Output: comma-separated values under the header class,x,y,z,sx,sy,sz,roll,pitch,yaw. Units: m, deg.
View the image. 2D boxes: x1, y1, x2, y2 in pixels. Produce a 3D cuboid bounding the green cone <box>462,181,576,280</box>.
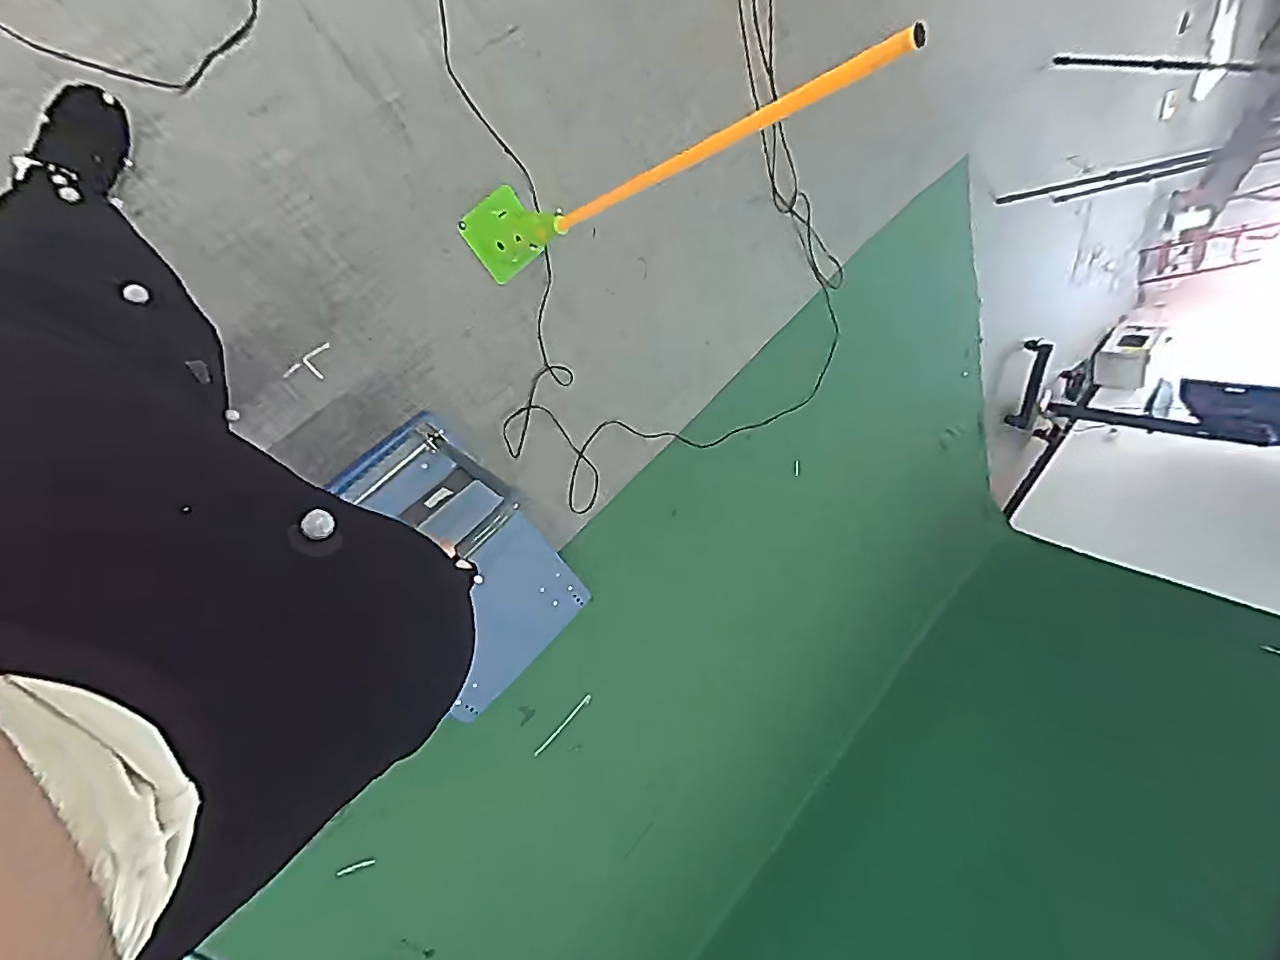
class,x,y,z,sx,sy,sz,roll,pitch,yaw
green cone,-0.275,-0.658,1.402,0.202,0.368,0.200,-49,129,-14
